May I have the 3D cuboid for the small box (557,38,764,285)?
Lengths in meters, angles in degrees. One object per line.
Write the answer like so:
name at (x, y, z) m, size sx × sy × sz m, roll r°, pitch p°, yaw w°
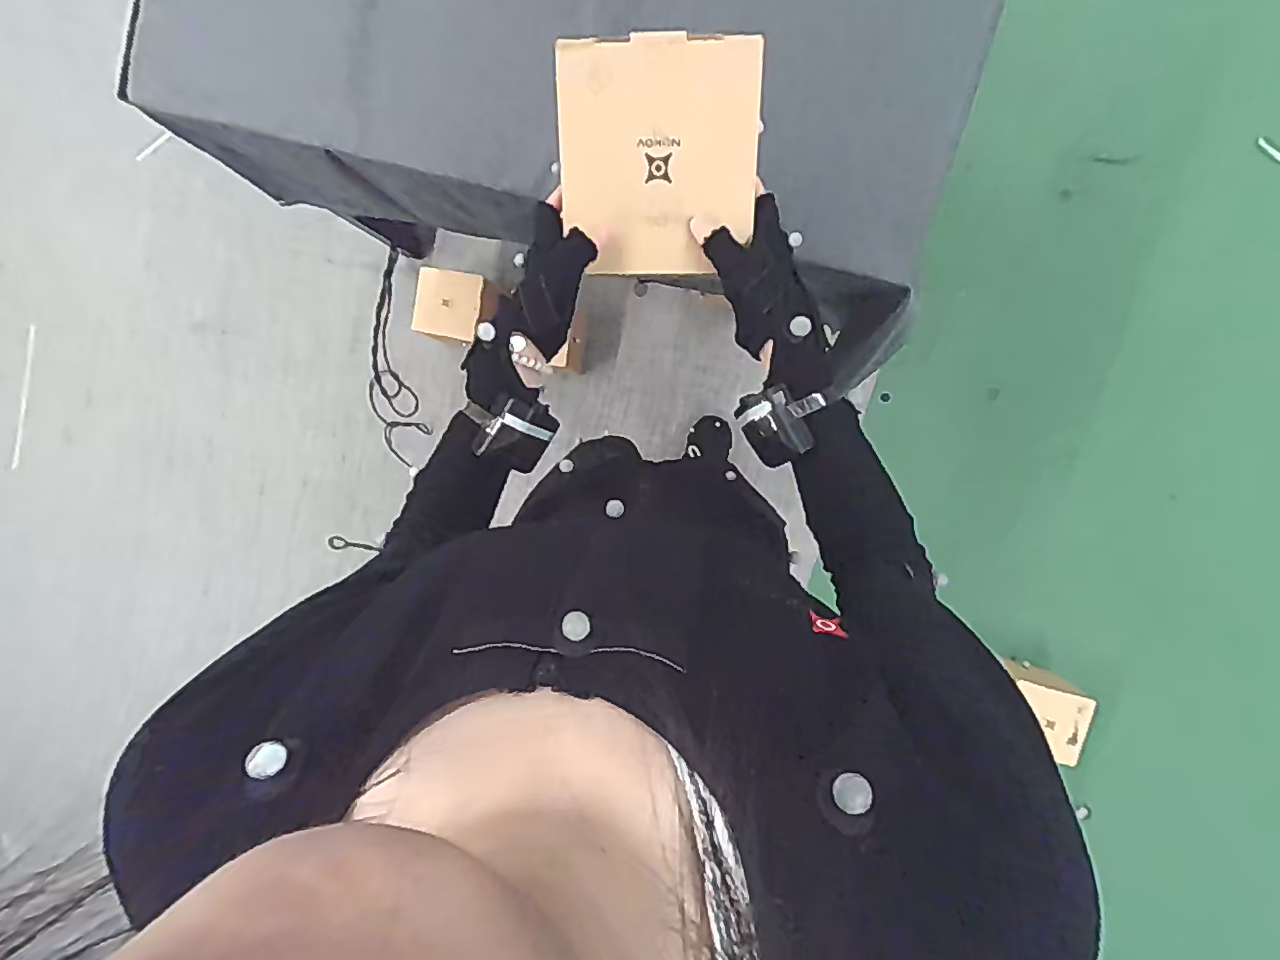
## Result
small box at (0.015, -0.285, 0.522) m, size 0.168 × 0.176 × 0.179 m, roll 1°, pitch 109°, yaw 2°

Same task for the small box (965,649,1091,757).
small box at (0.942, 0.537, 1.333) m, size 0.179 × 0.176 × 0.168 m, roll 16°, pitch 96°, yaw 7°
